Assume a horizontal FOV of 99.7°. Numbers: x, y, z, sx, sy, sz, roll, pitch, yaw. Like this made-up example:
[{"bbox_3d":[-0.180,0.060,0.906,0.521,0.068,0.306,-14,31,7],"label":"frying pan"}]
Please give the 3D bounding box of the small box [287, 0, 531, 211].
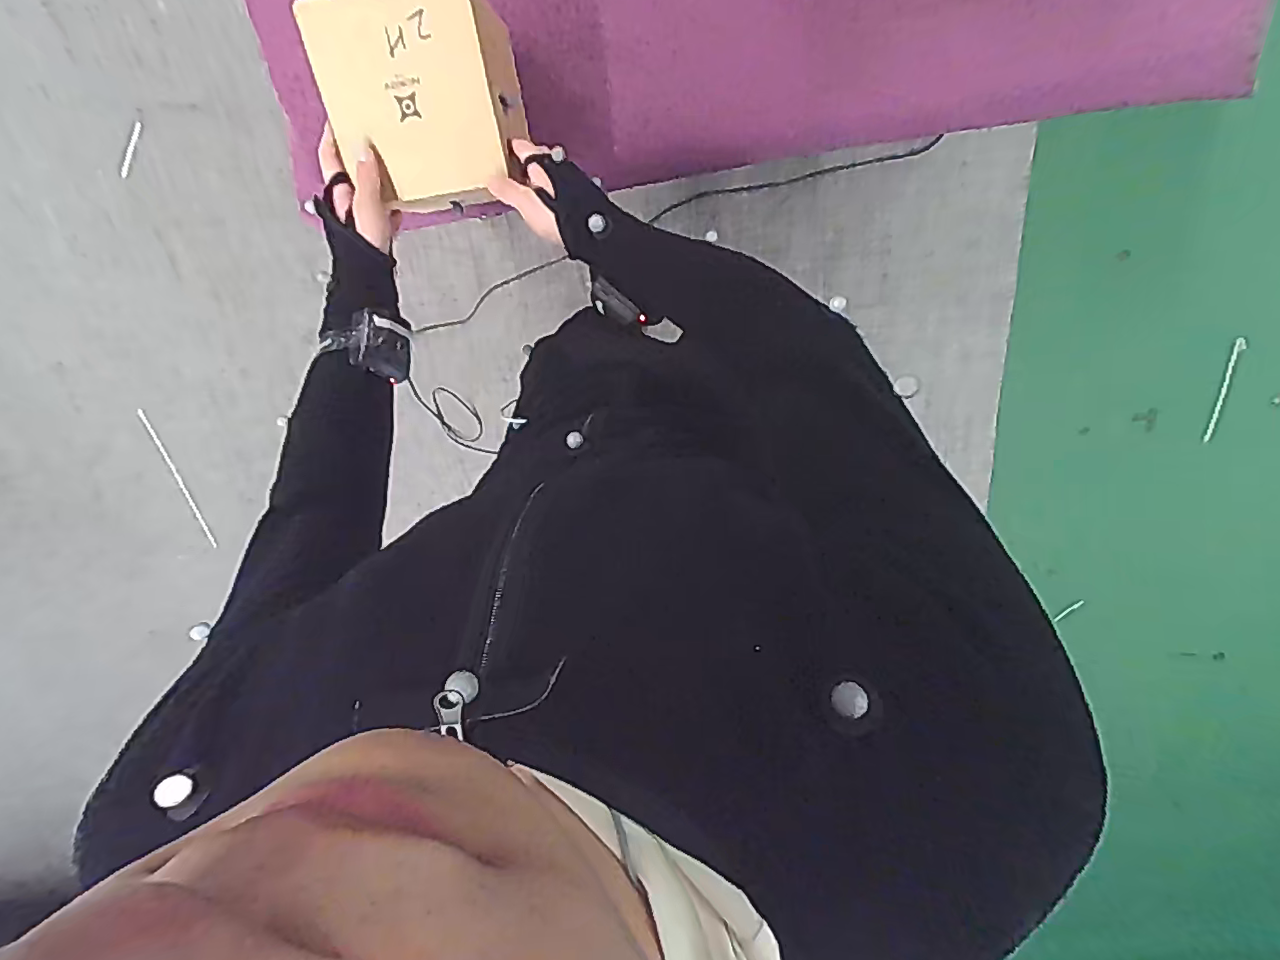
[{"bbox_3d":[-0.228,-0.402,0.591,0.168,0.176,0.179,-7,115,4],"label":"small box"}]
